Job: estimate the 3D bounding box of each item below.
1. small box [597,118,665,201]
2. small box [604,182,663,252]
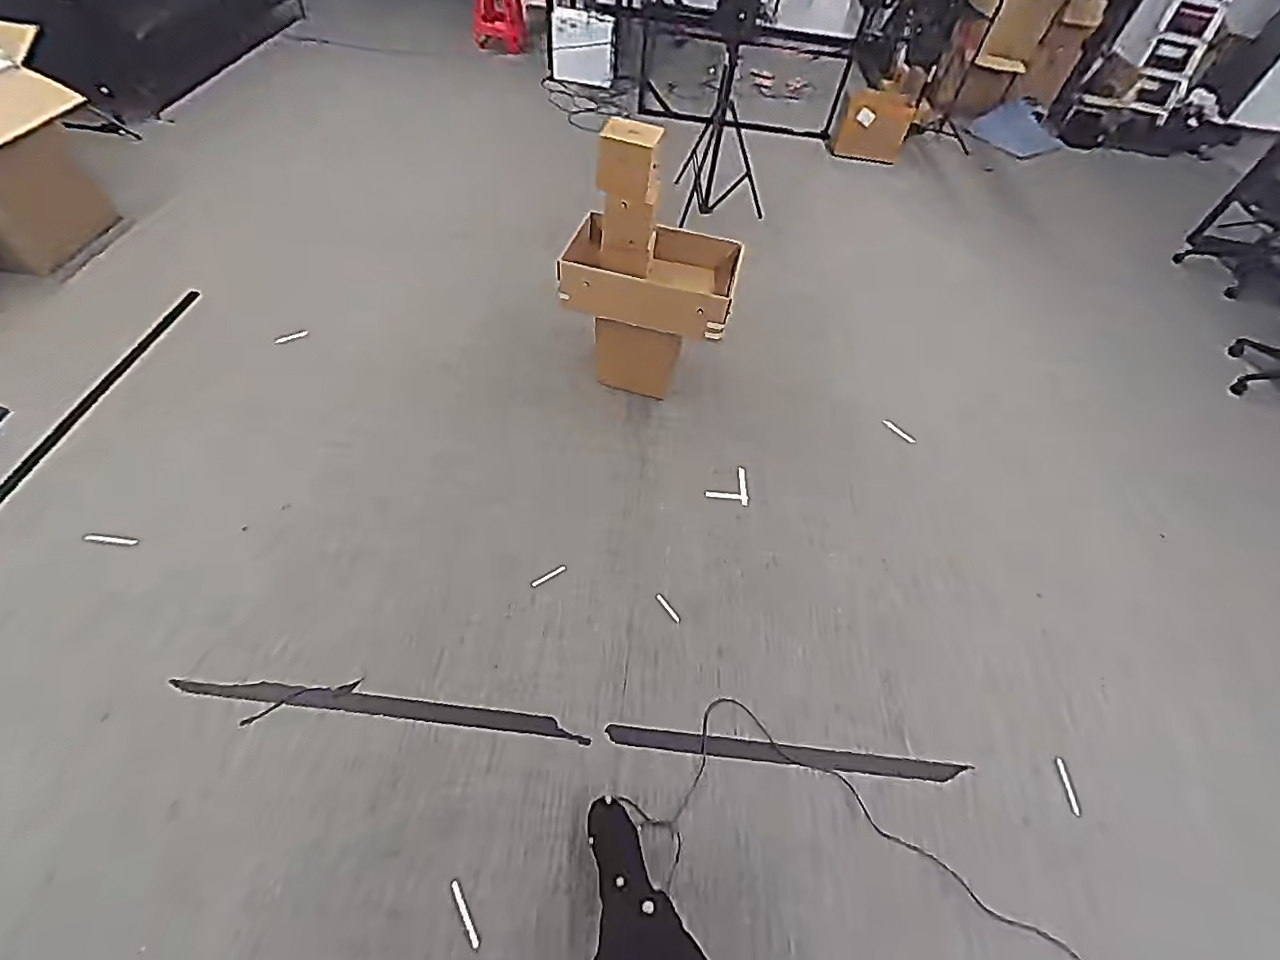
[{"bbox_3d":[-0.031,-1.028,1.744,0.179,0.176,0.168,15,52,3],"label":"small box"},{"bbox_3d":[-0.026,-0.924,1.872,0.168,0.176,0.179,12,52,1],"label":"small box"}]
